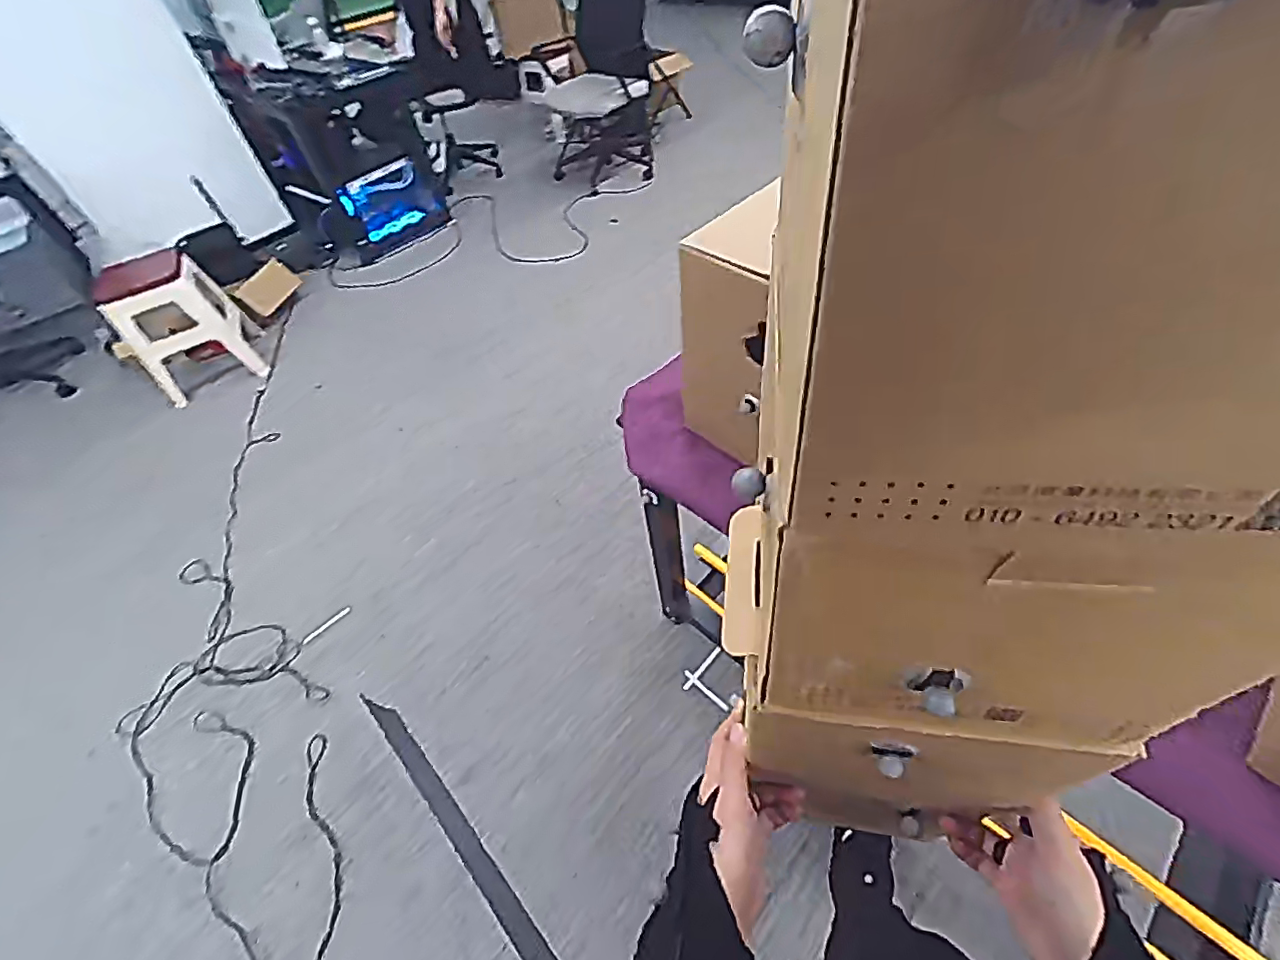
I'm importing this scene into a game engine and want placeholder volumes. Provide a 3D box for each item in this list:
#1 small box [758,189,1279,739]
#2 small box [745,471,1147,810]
[{"bbox_3d":[0.141,-0.004,0.245,0.168,0.176,0.179,1,52,11],"label":"small box"},{"bbox_3d":[0.162,0.106,0.363,0.179,0.176,0.168,2,52,11],"label":"small box"}]
